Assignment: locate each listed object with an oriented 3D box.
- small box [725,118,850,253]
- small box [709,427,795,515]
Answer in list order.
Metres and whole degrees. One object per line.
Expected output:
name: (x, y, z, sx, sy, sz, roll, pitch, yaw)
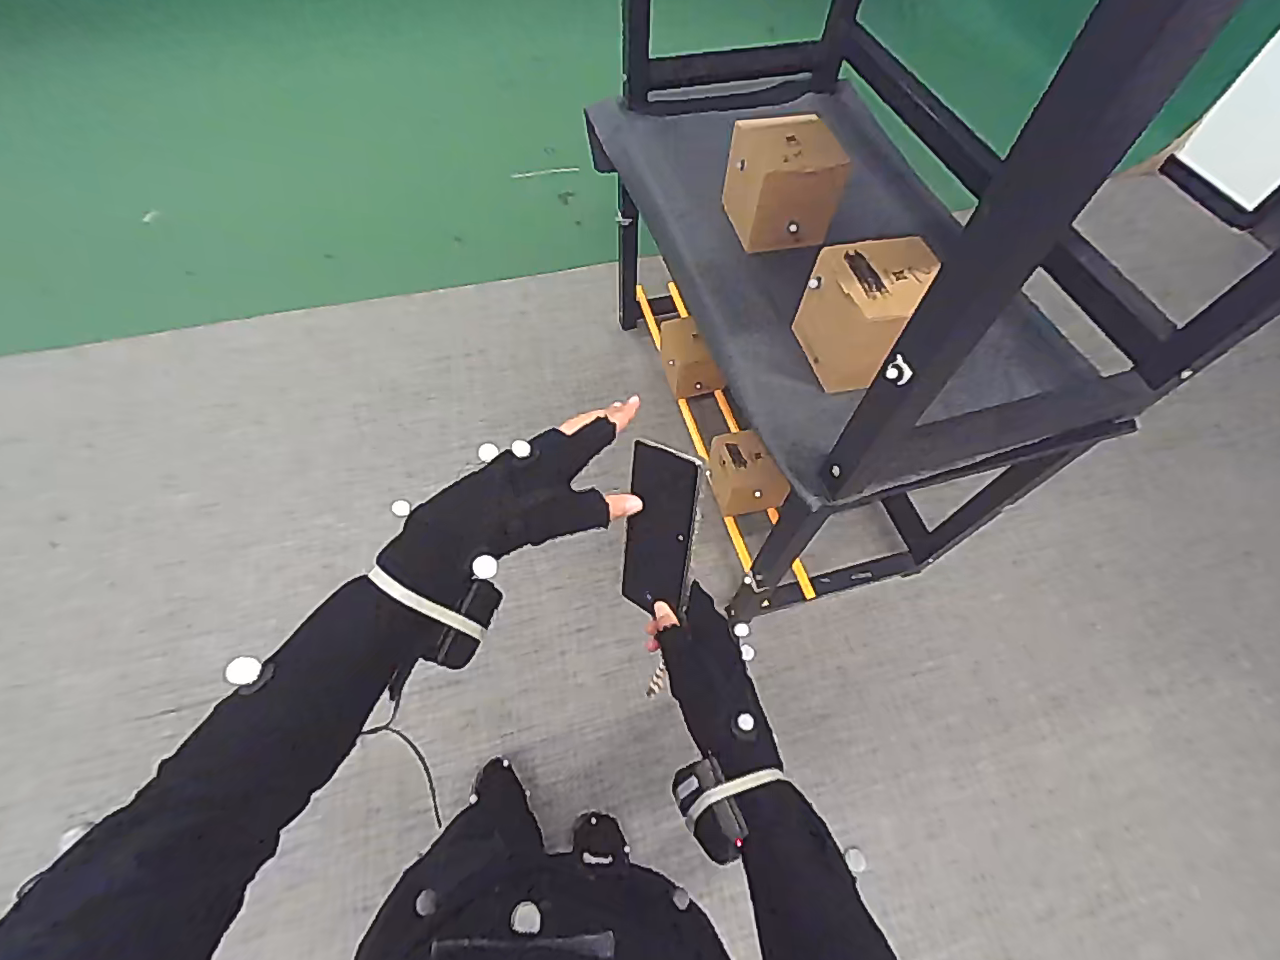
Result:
small box: (0.278, -0.581, 1.072, 0.168, 0.176, 0.179, -10, 61, -8)
small box: (0.293, -0.019, 1.467, 0.179, 0.176, 0.168, -10, 61, -7)
